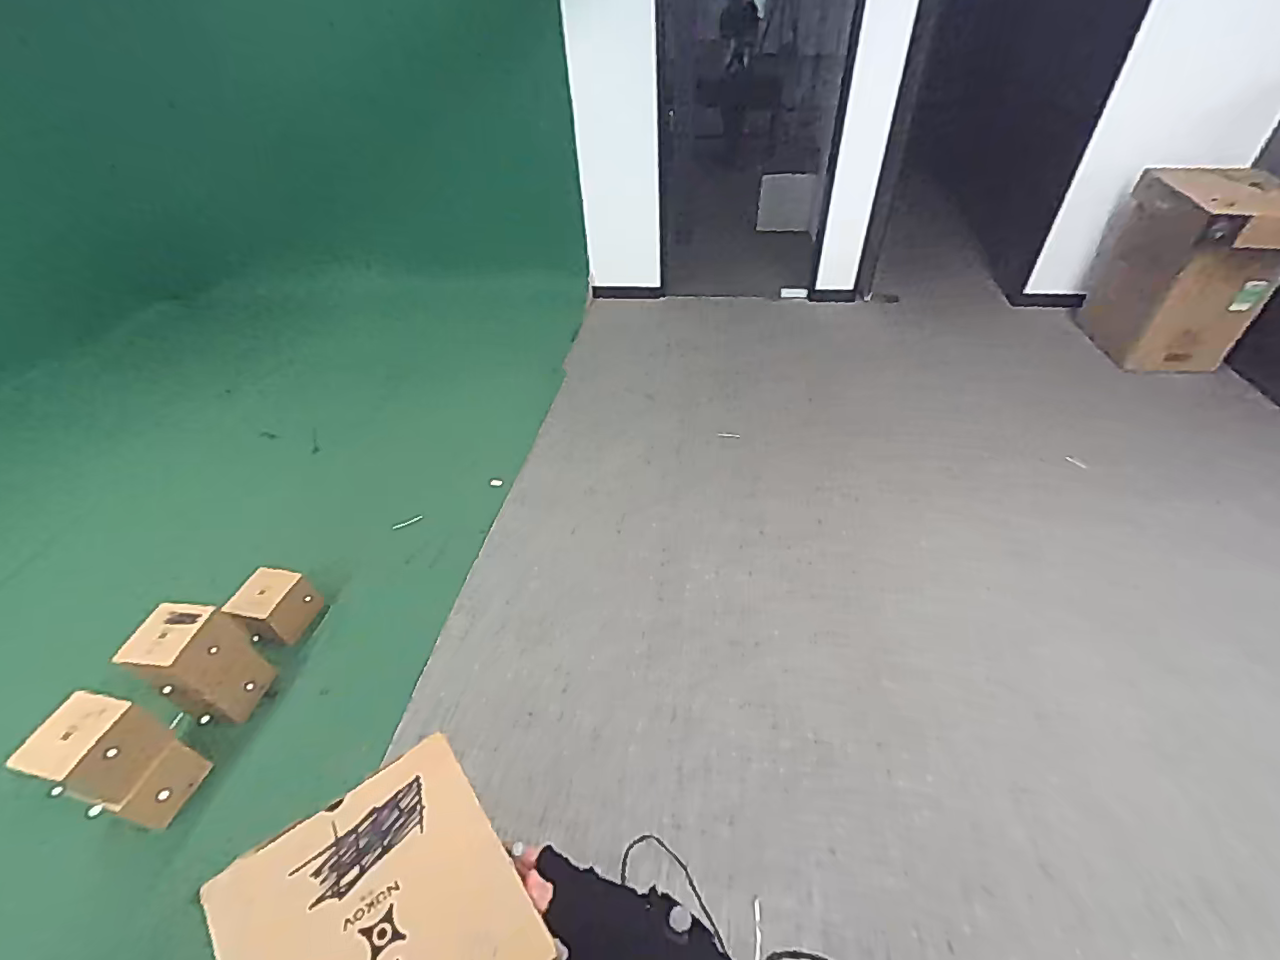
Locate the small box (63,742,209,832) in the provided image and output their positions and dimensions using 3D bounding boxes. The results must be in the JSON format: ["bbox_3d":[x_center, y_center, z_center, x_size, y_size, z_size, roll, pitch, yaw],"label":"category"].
[{"bbox_3d":[-1.257,0.762,1.367,0.179,0.176,0.168,7,43,12],"label":"small box"}]

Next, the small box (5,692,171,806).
[{"bbox_3d":[-1.273,0.632,1.265,0.168,0.176,0.179,7,43,11],"label":"small box"}]

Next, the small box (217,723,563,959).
[{"bbox_3d":[-0.173,0.332,0.407,0.168,0.176,0.179,-26,54,-29],"label":"small box"}]

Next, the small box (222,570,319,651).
[{"bbox_3d":[-1.177,0.421,1.746,0.168,0.176,0.179,7,42,11],"label":"small box"}]
